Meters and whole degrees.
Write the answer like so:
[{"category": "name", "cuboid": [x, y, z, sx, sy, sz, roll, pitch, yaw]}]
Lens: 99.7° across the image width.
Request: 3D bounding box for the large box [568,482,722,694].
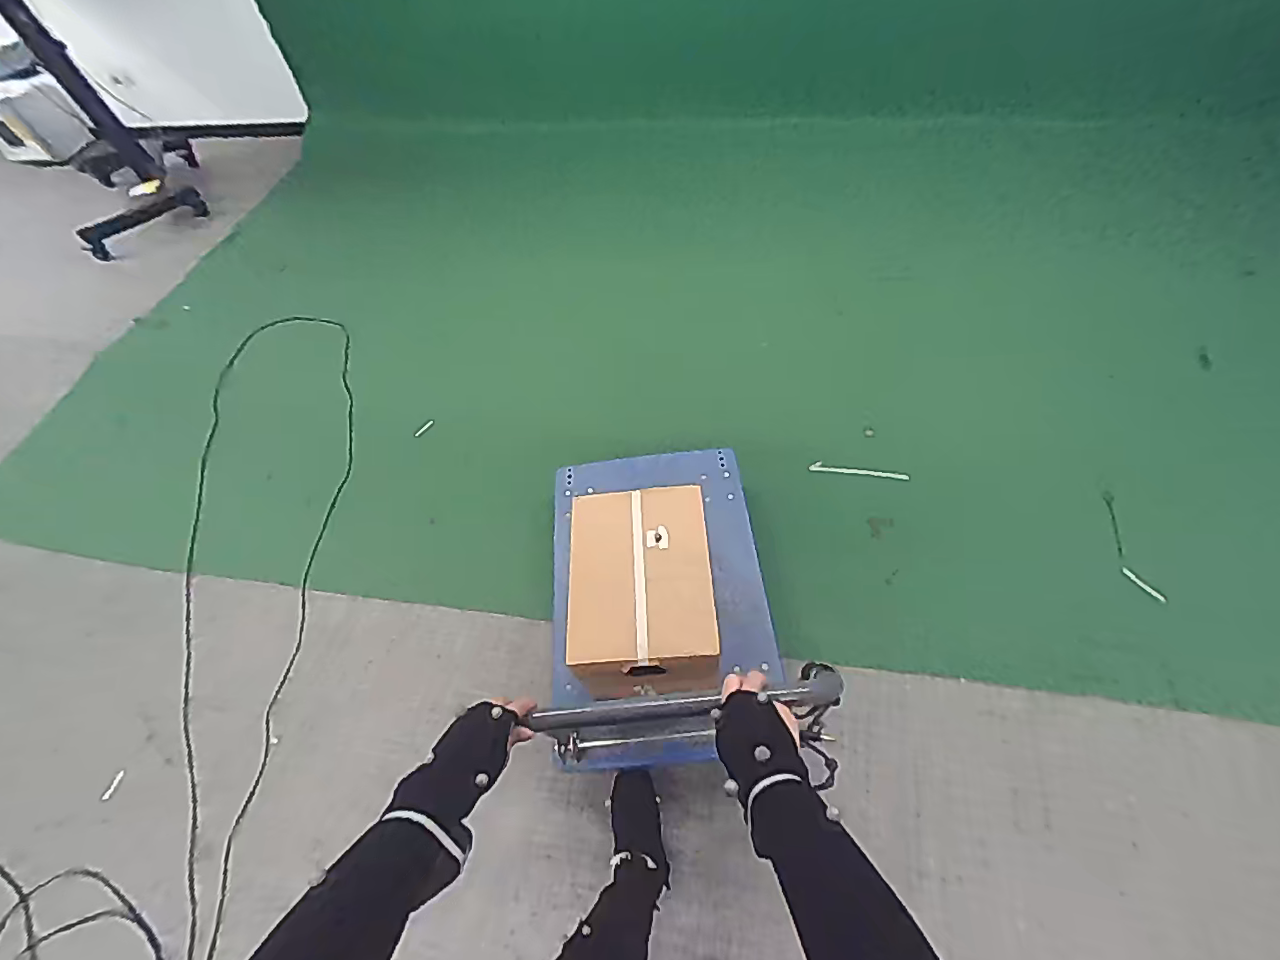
[{"category": "large box", "cuboid": [0.016, 0.265, 1.300, 0.320, 0.320, 0.408, -4, 56, 3]}]
